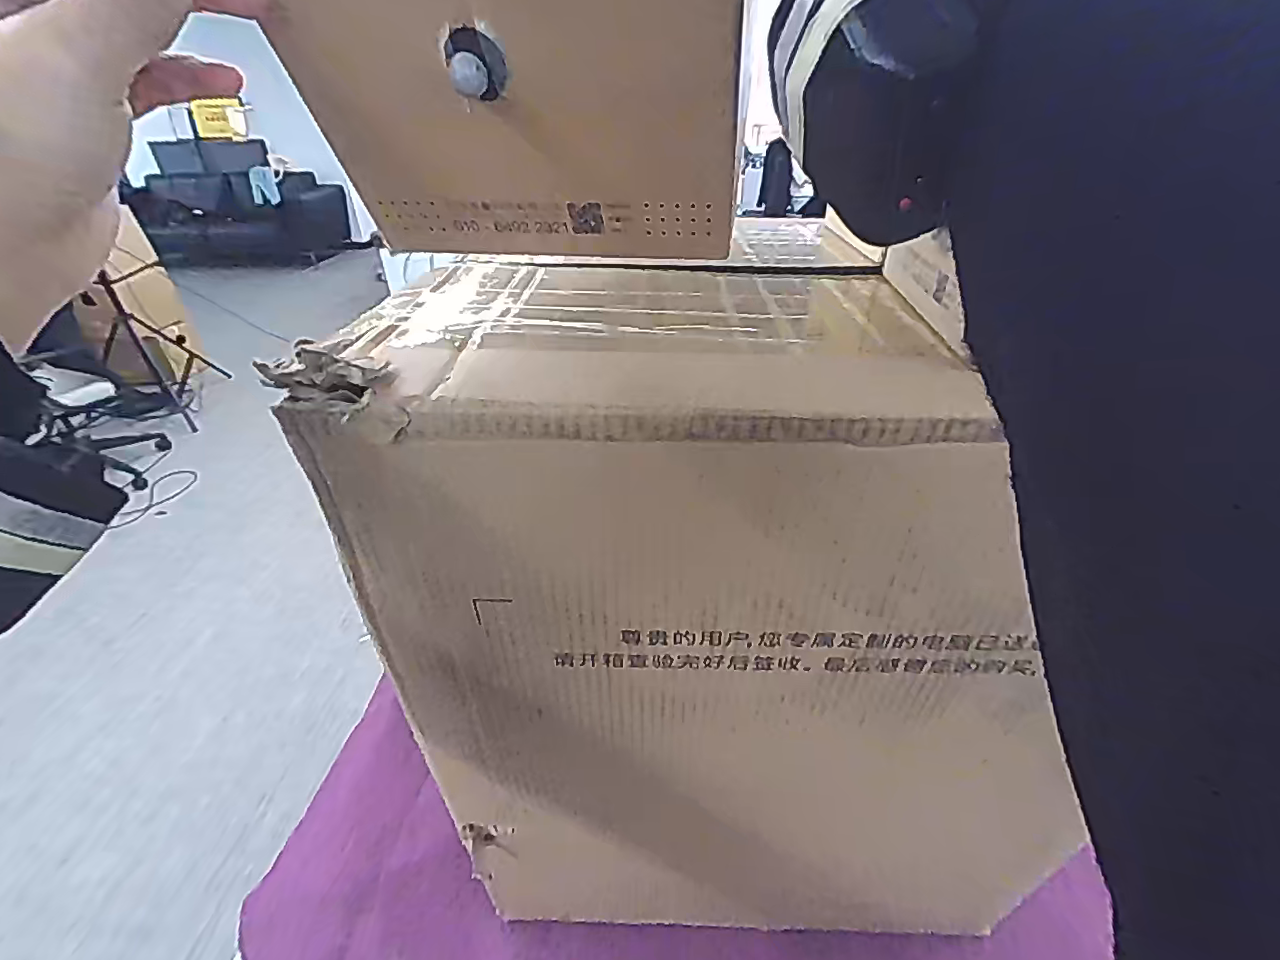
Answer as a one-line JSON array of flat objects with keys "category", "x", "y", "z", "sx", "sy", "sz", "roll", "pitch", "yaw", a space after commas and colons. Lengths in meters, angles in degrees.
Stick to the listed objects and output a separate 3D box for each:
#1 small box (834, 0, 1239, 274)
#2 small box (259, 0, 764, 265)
[{"category": "small box", "x": 0.253, "y": -0.254, "z": 0.397, "sx": 0.179, "sy": 0.176, "sz": 0.168, "roll": 1, "pitch": 34, "yaw": 2}, {"category": "small box", "x": -0.034, "y": -0.212, "z": 0.223, "sx": 0.168, "sy": 0.176, "sz": 0.179, "roll": 6, "pitch": 62, "yaw": 9}]
